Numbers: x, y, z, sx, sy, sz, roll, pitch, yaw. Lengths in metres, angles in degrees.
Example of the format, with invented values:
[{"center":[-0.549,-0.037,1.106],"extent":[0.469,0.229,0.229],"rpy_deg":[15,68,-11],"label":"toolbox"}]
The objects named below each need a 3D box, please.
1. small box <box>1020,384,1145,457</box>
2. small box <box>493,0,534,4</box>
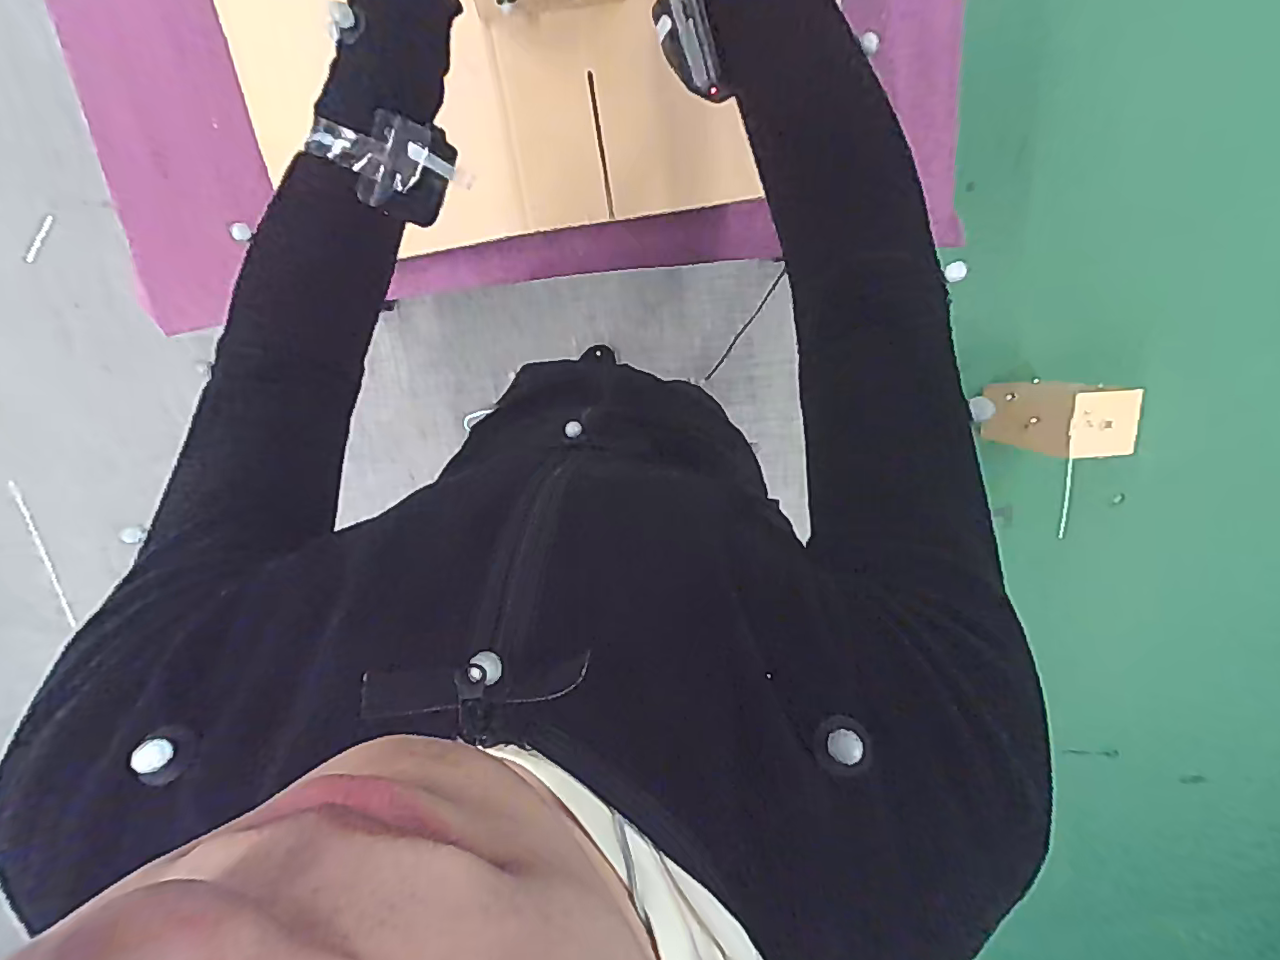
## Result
[{"center":[1.149,-0.160,1.415],"extent":[0.179,0.176,0.168],"rpy_deg":[-4,104,-2],"label":"small box"},{"center":[-0.097,-0.568,0.477],"extent":[0.168,0.176,0.179],"rpy_deg":[-11,104,-3],"label":"small box"}]
